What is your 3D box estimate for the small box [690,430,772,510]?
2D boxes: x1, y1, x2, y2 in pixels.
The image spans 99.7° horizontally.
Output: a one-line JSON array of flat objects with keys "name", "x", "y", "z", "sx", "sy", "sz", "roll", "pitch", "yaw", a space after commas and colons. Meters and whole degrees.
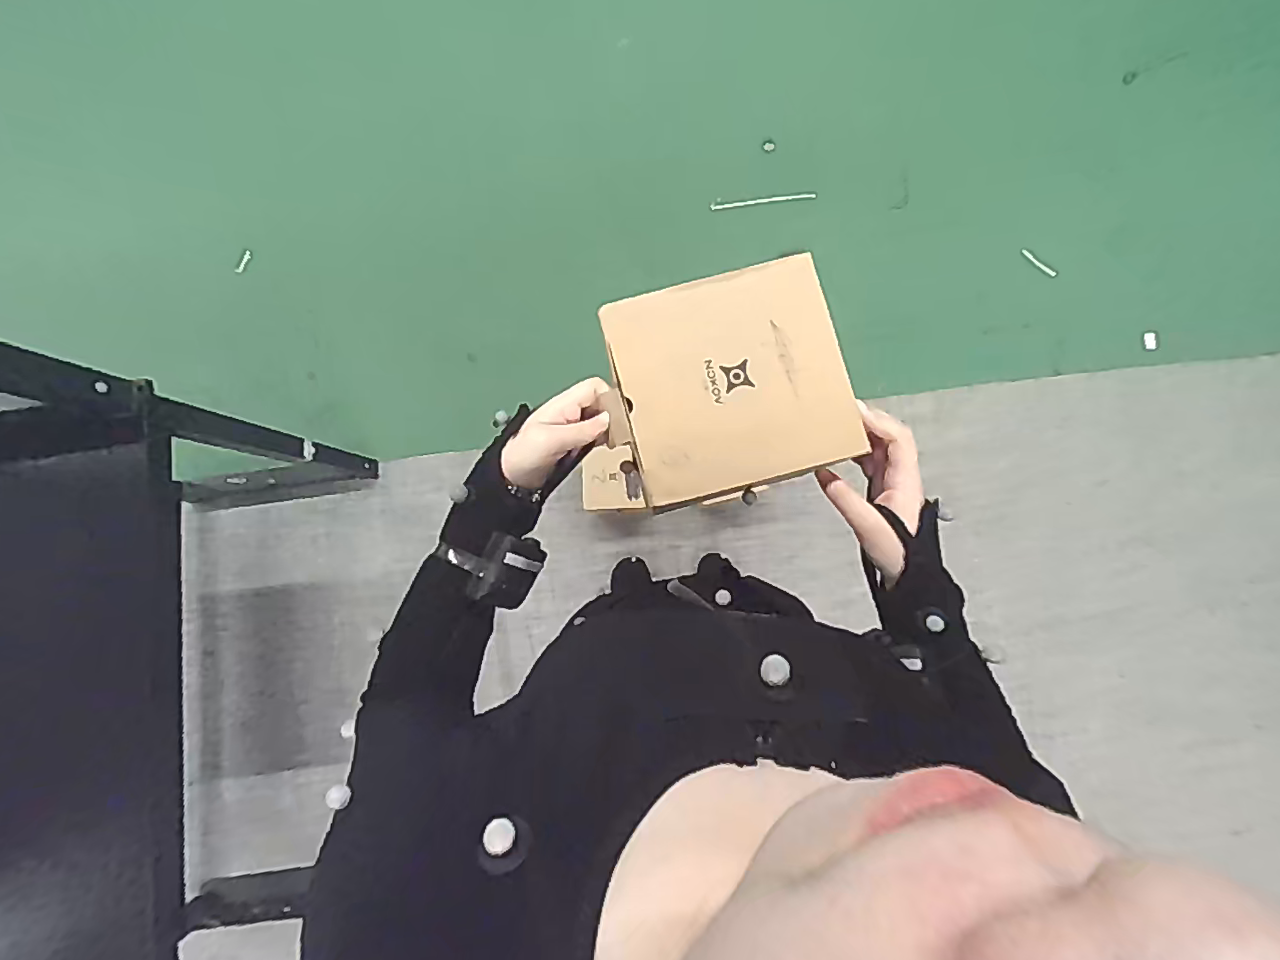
[{"name": "small box", "x": 0.234, "y": -0.020, "z": 1.441, "sx": 0.179, "sy": 0.176, "sz": 0.168, "roll": -14, "pitch": 83, "yaw": 0}]
